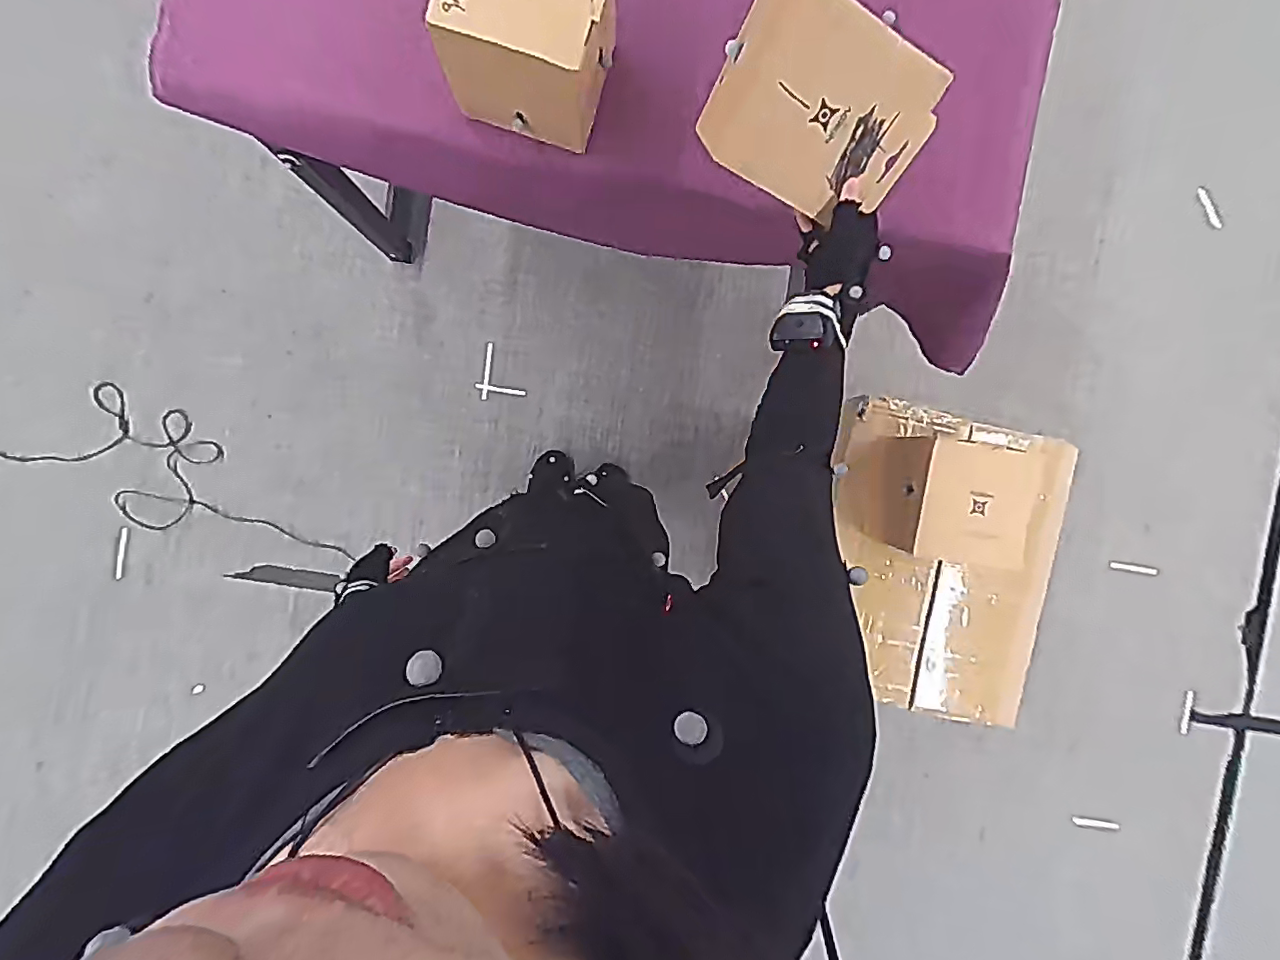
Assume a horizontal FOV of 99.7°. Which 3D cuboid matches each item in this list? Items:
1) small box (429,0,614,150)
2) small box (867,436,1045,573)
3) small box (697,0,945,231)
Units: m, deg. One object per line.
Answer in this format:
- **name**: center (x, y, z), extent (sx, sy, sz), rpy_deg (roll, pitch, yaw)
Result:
- **small box**: center (-0.133, -0.553, 0.674), extent (0.179, 0.176, 0.168), rpy_deg (16, 90, -6)
- **small box**: center (0.478, 0.032, 0.846), extent (0.168, 0.176, 0.179), rpy_deg (9, 93, -2)
- **small box**: center (0.184, -0.418, 0.603), extent (0.179, 0.176, 0.168), rpy_deg (19, 127, -19)
